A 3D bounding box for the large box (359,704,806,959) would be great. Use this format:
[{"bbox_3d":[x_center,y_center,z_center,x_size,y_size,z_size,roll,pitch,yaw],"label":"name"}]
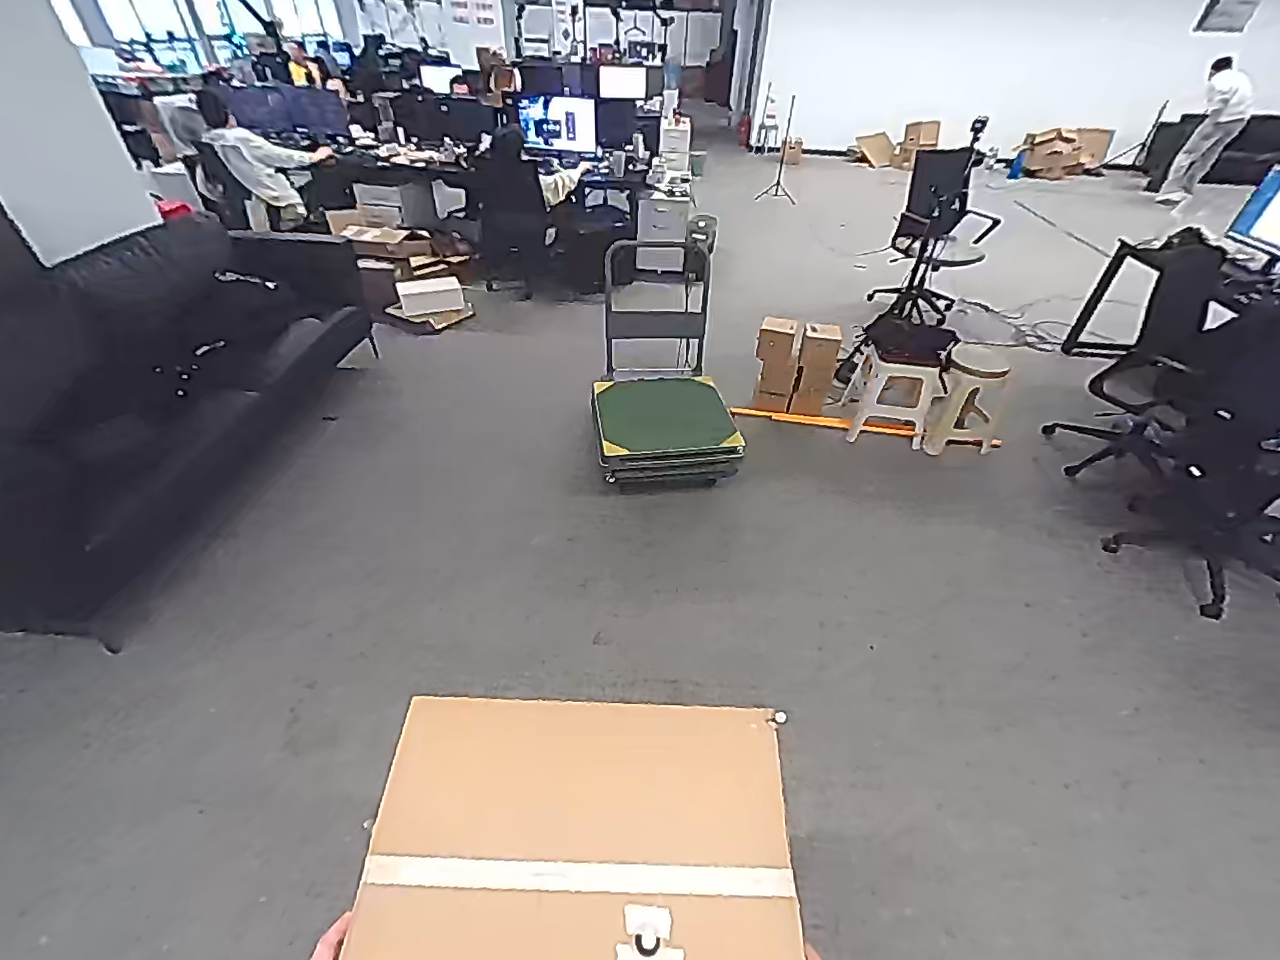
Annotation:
[{"bbox_3d":[-0.054,0.469,0.633,0.408,0.320,0.320,1,53,0],"label":"large box"}]
